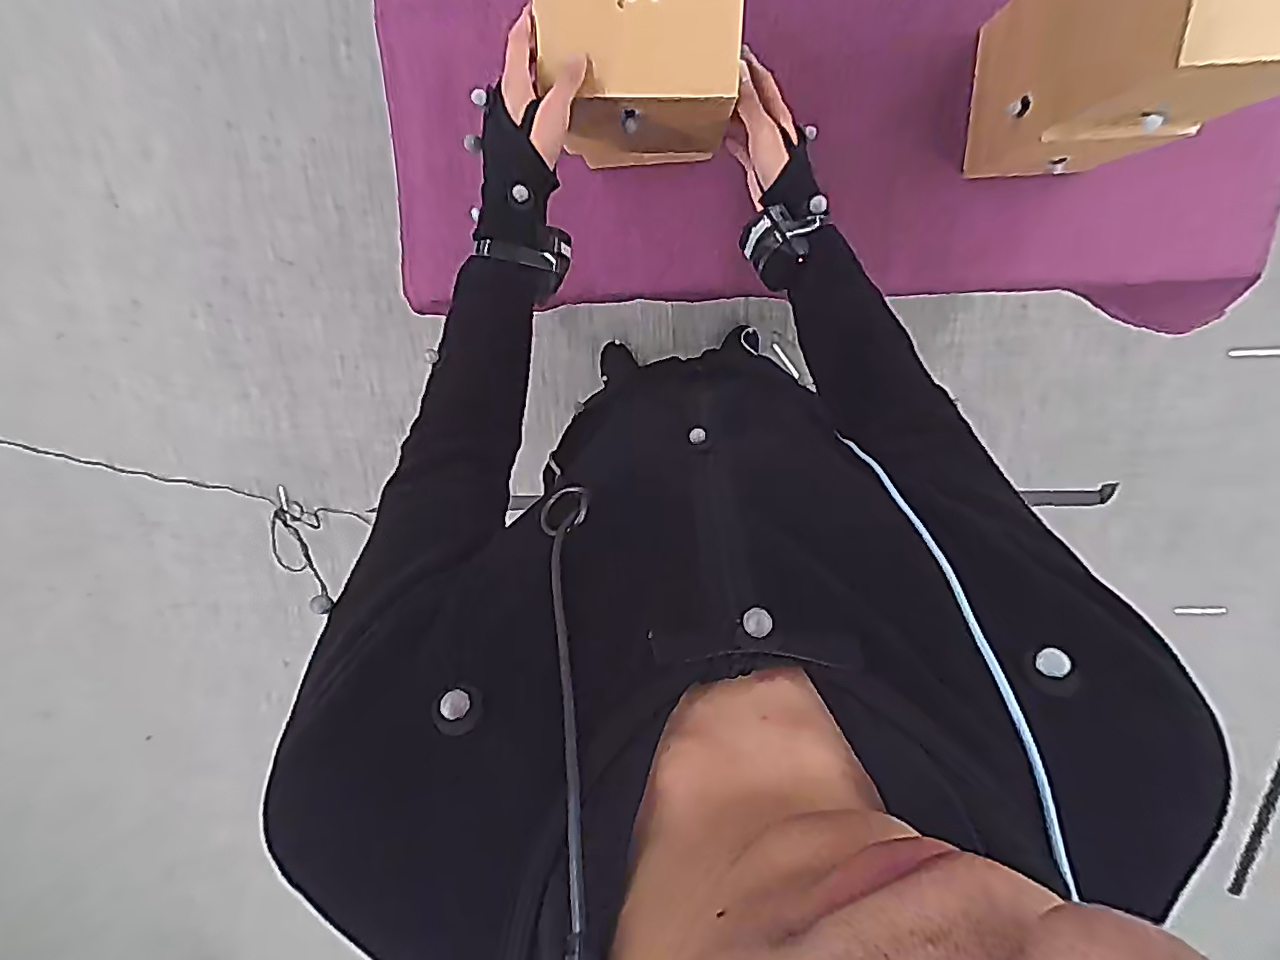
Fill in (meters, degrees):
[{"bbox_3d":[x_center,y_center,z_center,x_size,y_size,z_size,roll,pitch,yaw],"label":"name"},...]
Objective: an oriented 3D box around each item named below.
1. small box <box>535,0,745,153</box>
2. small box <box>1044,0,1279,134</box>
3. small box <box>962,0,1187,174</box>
[{"bbox_3d":[0.003,-0.429,0.518,0.179,0.176,0.168,2,108,3],"label":"small box"},{"bbox_3d":[0.513,-0.441,0.490,0.168,0.176,0.179,0,108,3],"label":"small box"},{"bbox_3d":[0.519,-0.480,0.650,0.168,0.176,0.179,-1,107,3],"label":"small box"}]
